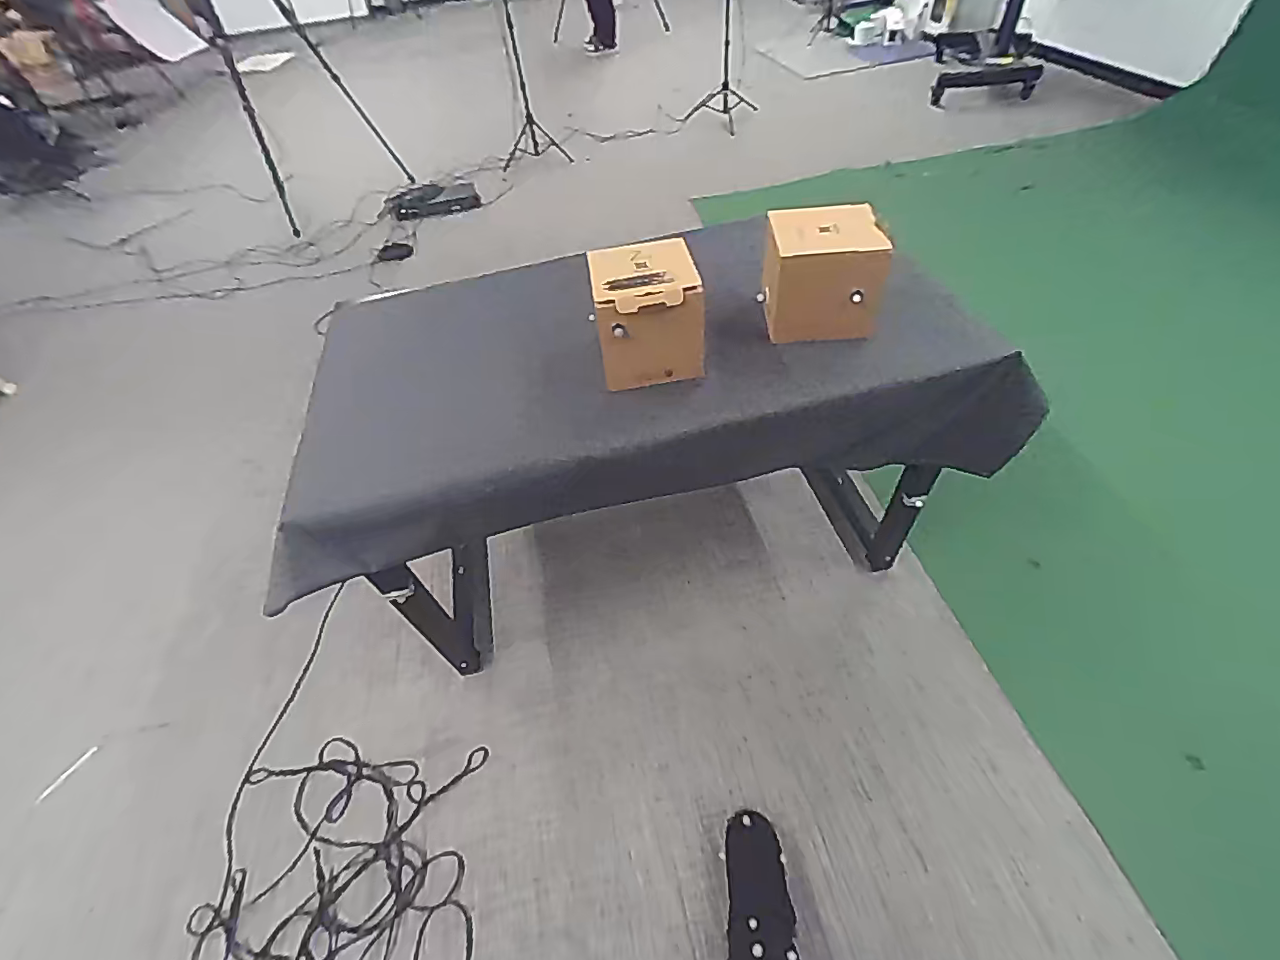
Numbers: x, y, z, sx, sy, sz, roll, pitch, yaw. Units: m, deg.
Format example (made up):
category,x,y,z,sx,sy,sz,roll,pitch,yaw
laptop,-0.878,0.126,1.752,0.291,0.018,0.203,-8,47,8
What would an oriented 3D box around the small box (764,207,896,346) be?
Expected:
category,x,y,z,sx,sy,sz,roll,pitch,yaw
small box,0.322,-0.355,0.954,0.179,0.176,0.168,-3,49,6
